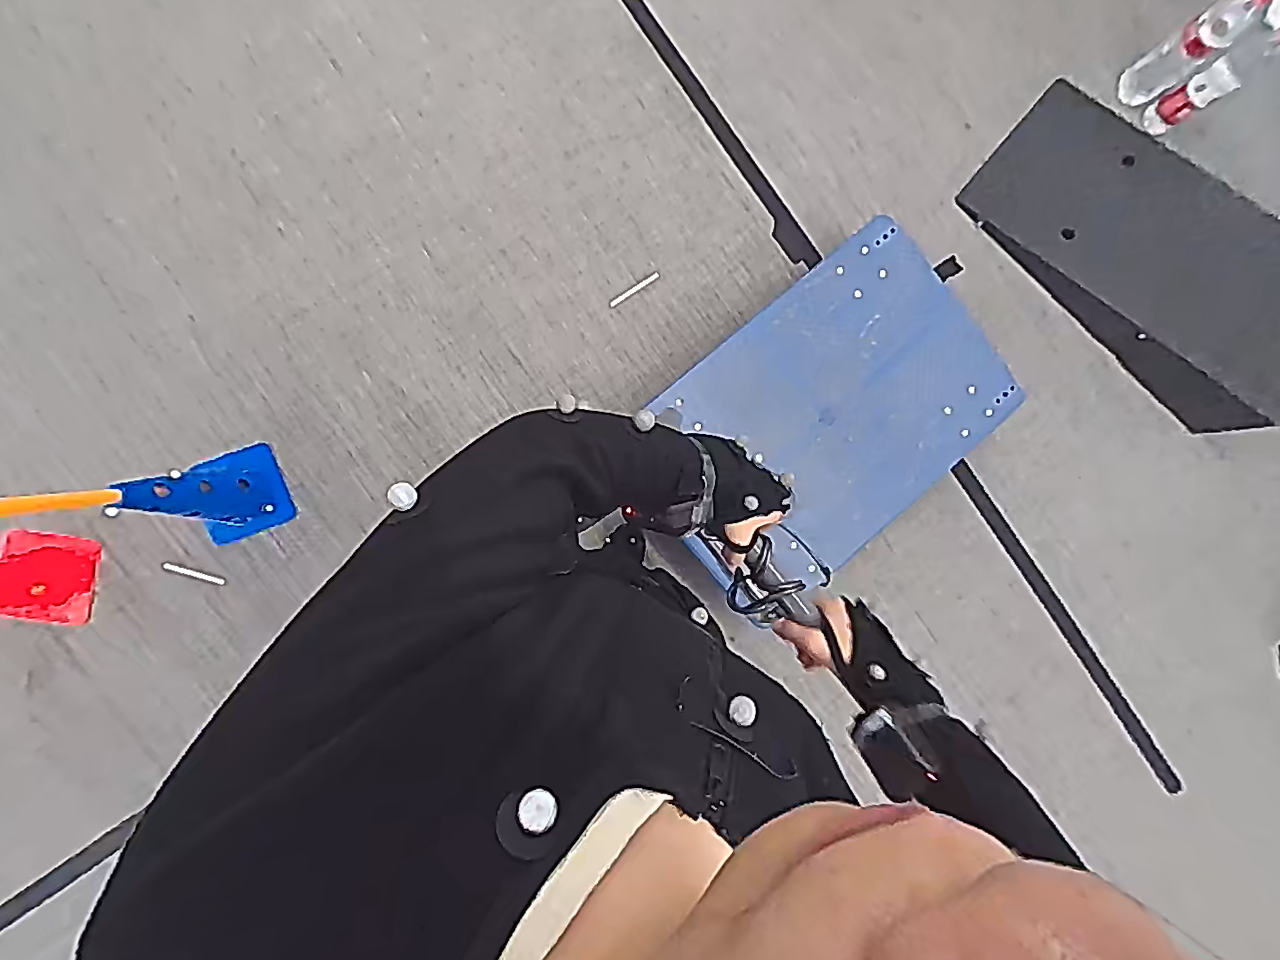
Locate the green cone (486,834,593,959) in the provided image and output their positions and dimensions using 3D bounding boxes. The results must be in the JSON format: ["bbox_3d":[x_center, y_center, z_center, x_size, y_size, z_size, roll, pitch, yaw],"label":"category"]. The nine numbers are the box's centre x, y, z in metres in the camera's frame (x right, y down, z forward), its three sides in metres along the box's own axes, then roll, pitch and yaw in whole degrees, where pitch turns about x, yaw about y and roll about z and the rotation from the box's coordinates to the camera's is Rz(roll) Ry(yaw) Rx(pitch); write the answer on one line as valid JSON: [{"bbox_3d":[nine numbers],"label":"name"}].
[{"bbox_3d":[-0.227,0.984,1.141,0.200,0.368,0.202,42,86,-3],"label":"green cone"}]

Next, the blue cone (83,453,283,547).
[{"bbox_3d":[-0.937,0.041,1.104,0.192,0.380,0.193,-20,91,-5],"label":"blue cone"}]

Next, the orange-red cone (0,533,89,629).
[{"bbox_3d":[-1.336,0.225,1.042,0.199,0.360,0.198,11,88,-7],"label":"orange-red cone"}]
